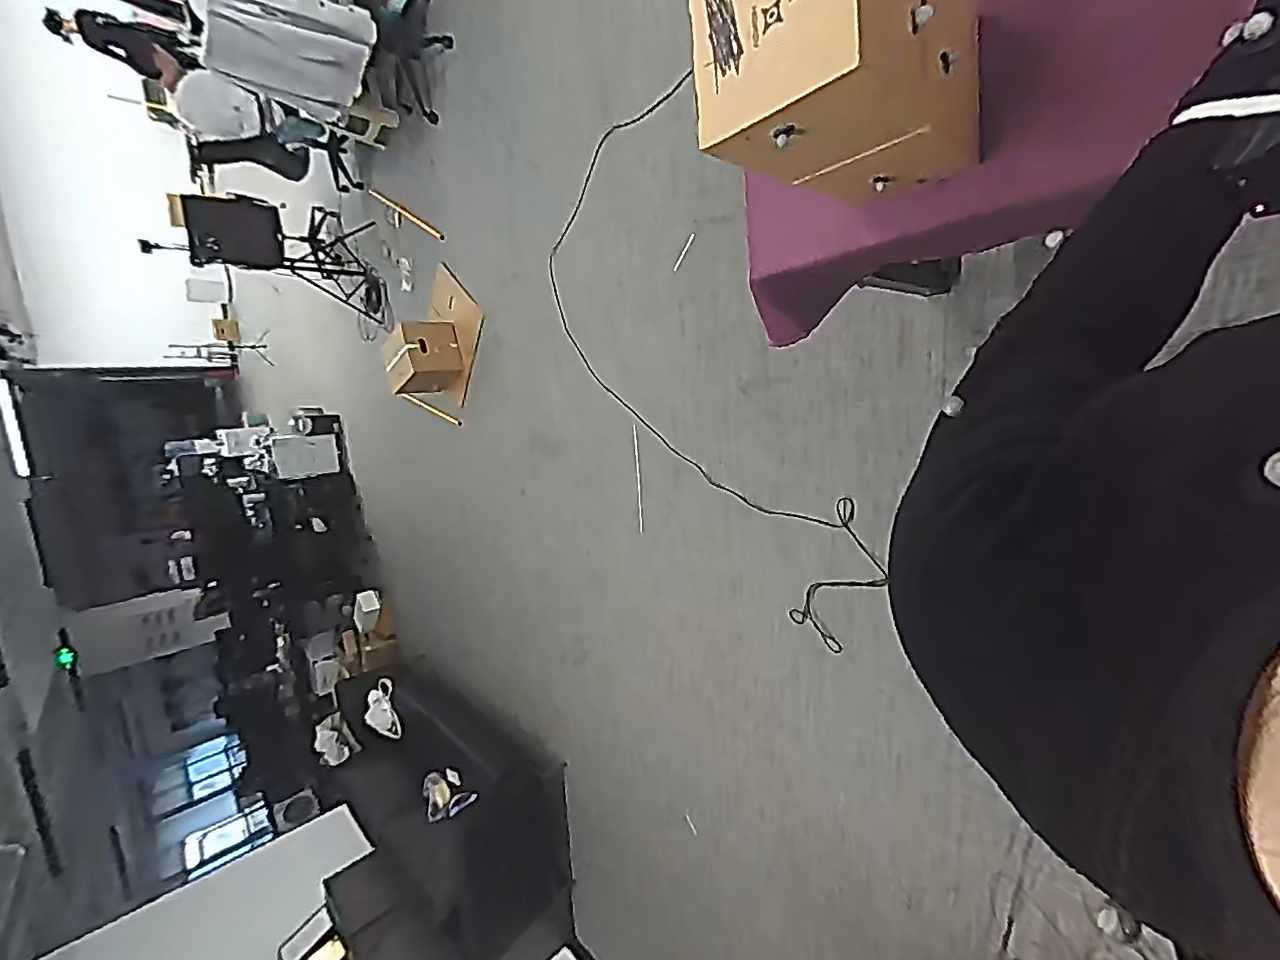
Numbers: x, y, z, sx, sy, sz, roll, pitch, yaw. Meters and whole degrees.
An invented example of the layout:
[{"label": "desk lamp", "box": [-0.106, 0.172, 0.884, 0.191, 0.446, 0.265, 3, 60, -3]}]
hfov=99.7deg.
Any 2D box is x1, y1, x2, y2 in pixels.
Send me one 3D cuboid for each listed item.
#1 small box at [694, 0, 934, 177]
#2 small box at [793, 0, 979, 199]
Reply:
[{"label": "small box", "box": [0.177, -0.439, 0.553, 0.179, 0.176, 0.168, 3, 101, 47]}, {"label": "small box", "box": [0.299, -0.464, 0.662, 0.168, 0.176, 0.179, 3, 101, 47]}]
